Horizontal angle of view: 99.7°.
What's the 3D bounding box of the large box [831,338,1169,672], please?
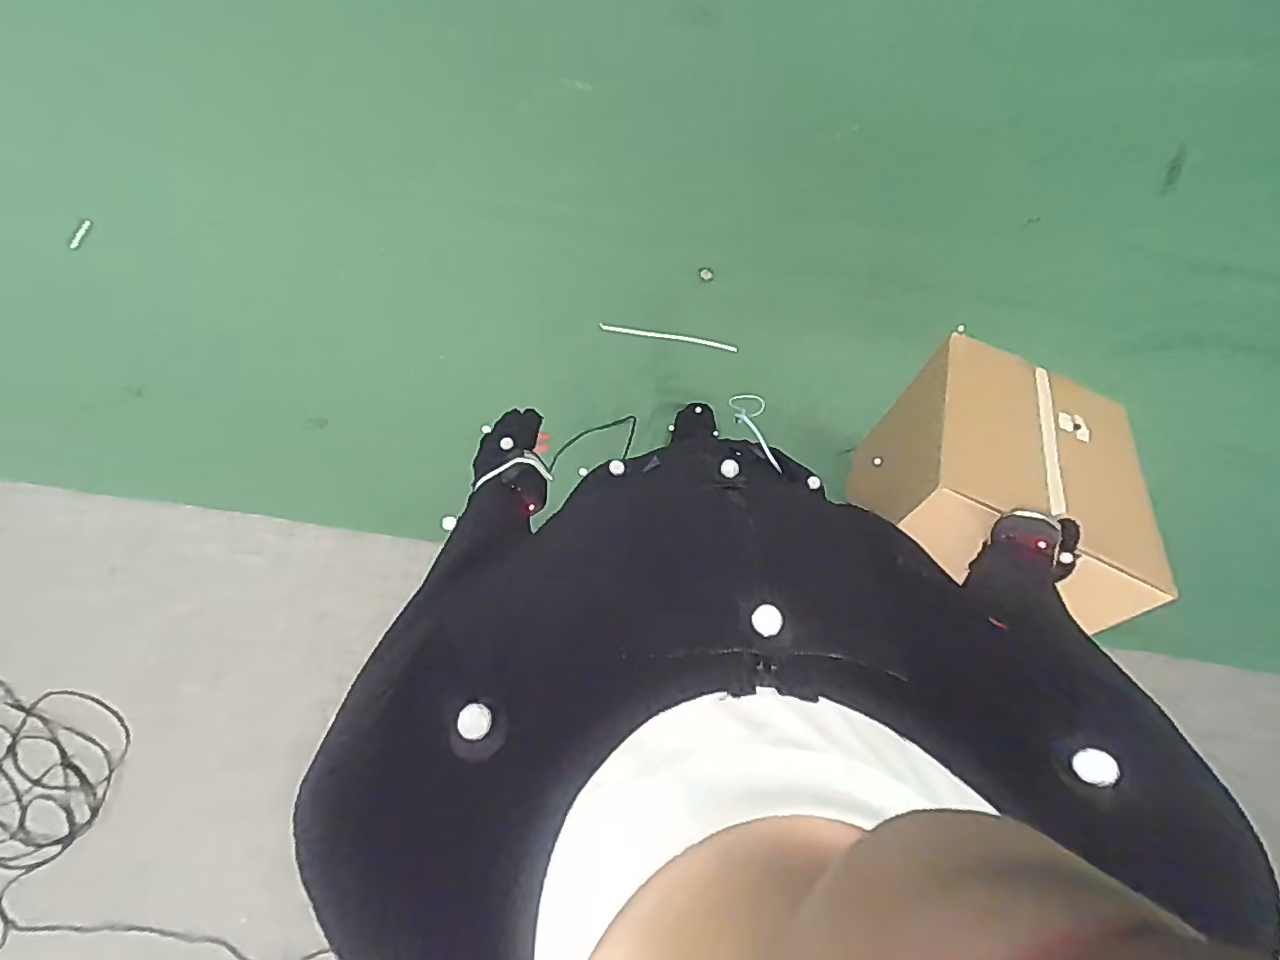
[{"bbox_3d":[0.562,0.038,0.919,0.320,0.320,0.408,27,50,5],"label":"large box"}]
